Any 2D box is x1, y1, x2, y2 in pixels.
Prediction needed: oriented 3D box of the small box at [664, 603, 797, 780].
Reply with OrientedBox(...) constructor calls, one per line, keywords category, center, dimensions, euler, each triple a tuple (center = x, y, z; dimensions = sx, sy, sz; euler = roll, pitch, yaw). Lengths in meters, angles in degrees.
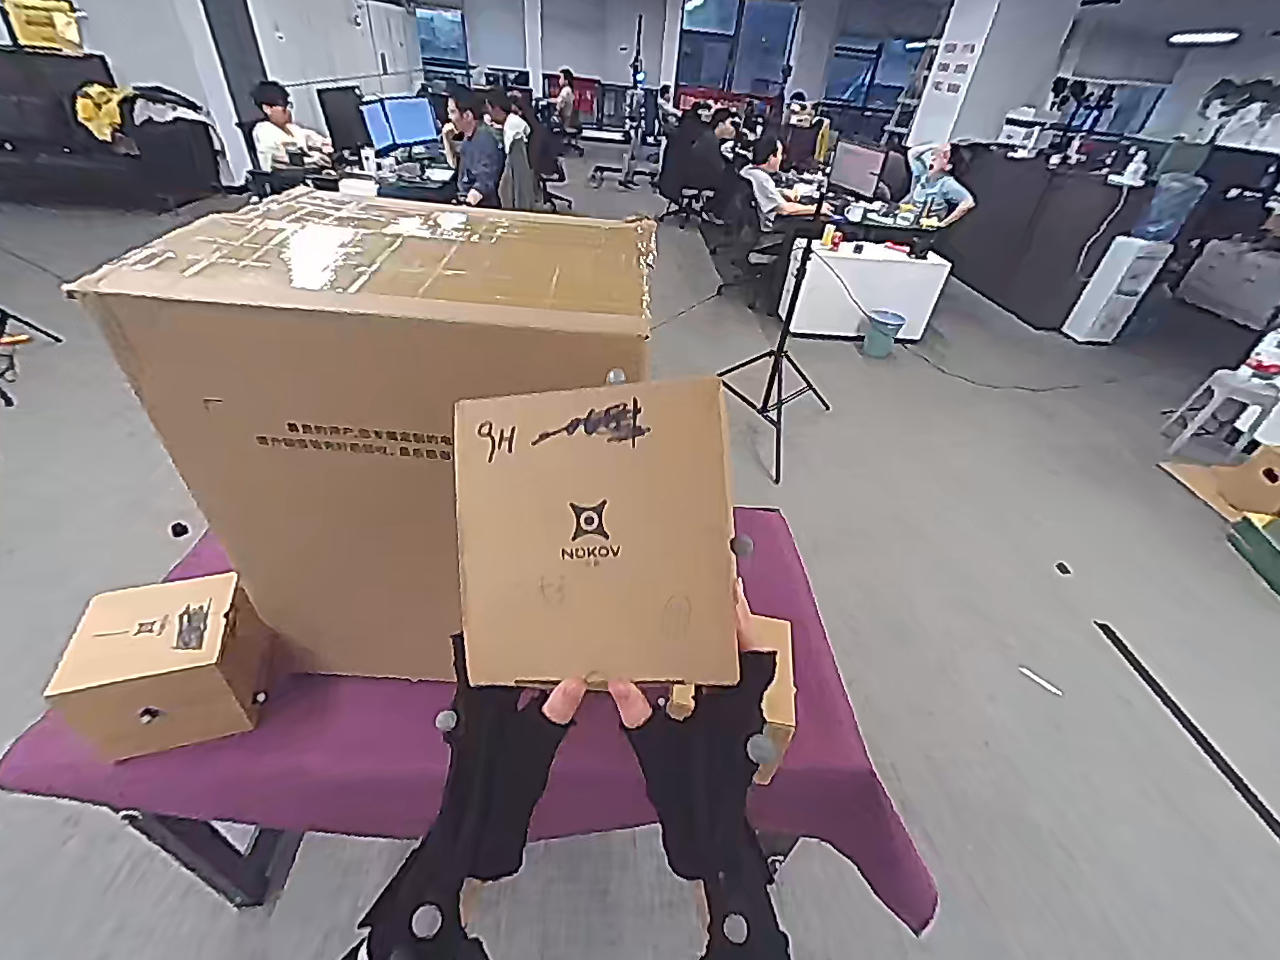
OrientedBox(category="small box", center=(0.132, 0.320, 0.819), dimensions=(0.168, 0.176, 0.179), euler=(10, 36, 4))
